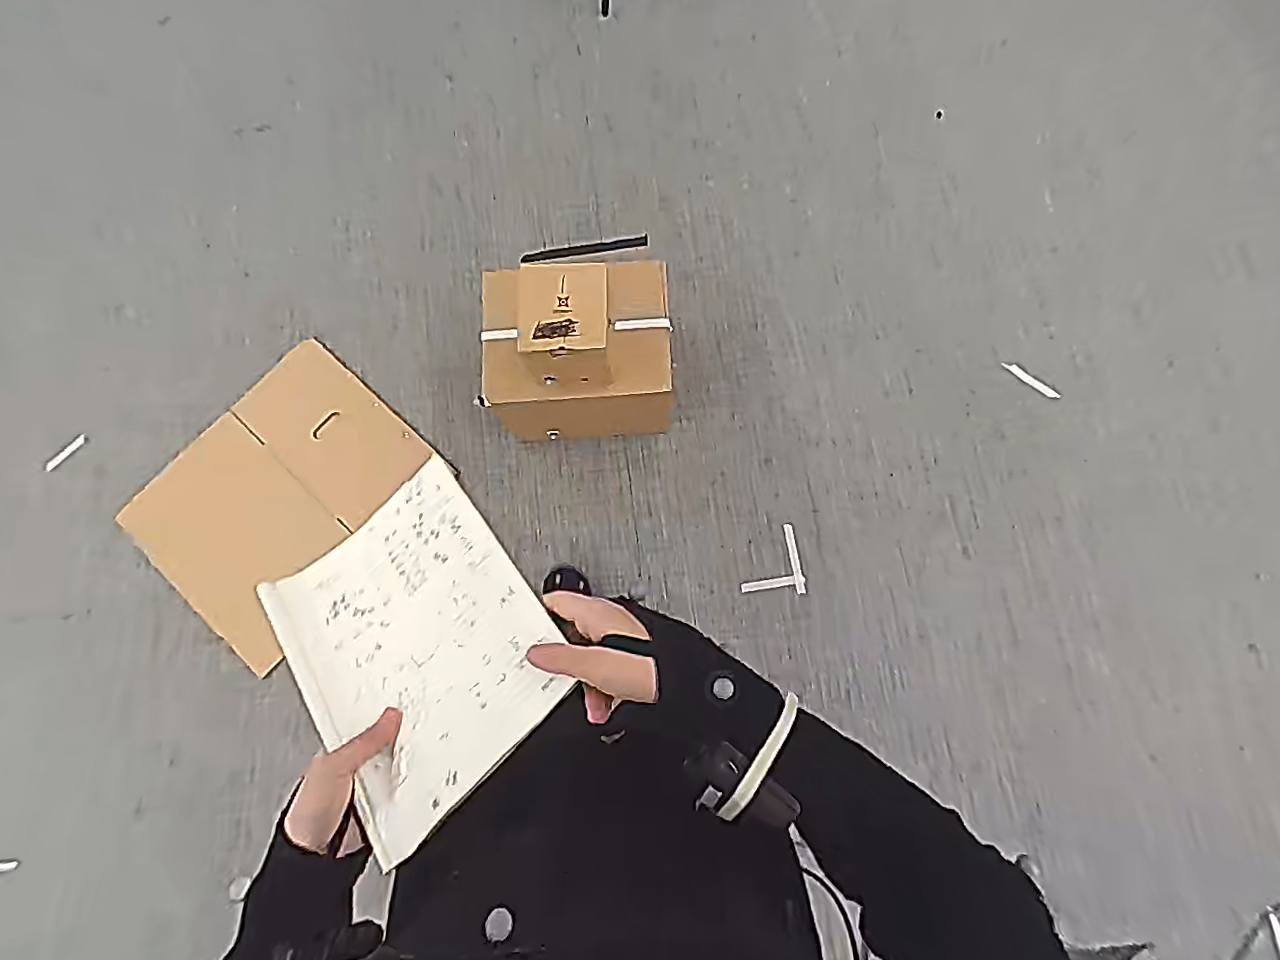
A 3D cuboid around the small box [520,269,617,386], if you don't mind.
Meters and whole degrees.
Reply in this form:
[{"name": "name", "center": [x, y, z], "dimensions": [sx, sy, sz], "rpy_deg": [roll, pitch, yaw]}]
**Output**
[{"name": "small box", "center": [-0.133, -0.292, 1.070], "dimensions": [0.168, 0.176, 0.179], "rpy_deg": [-1, 79, 2]}]
